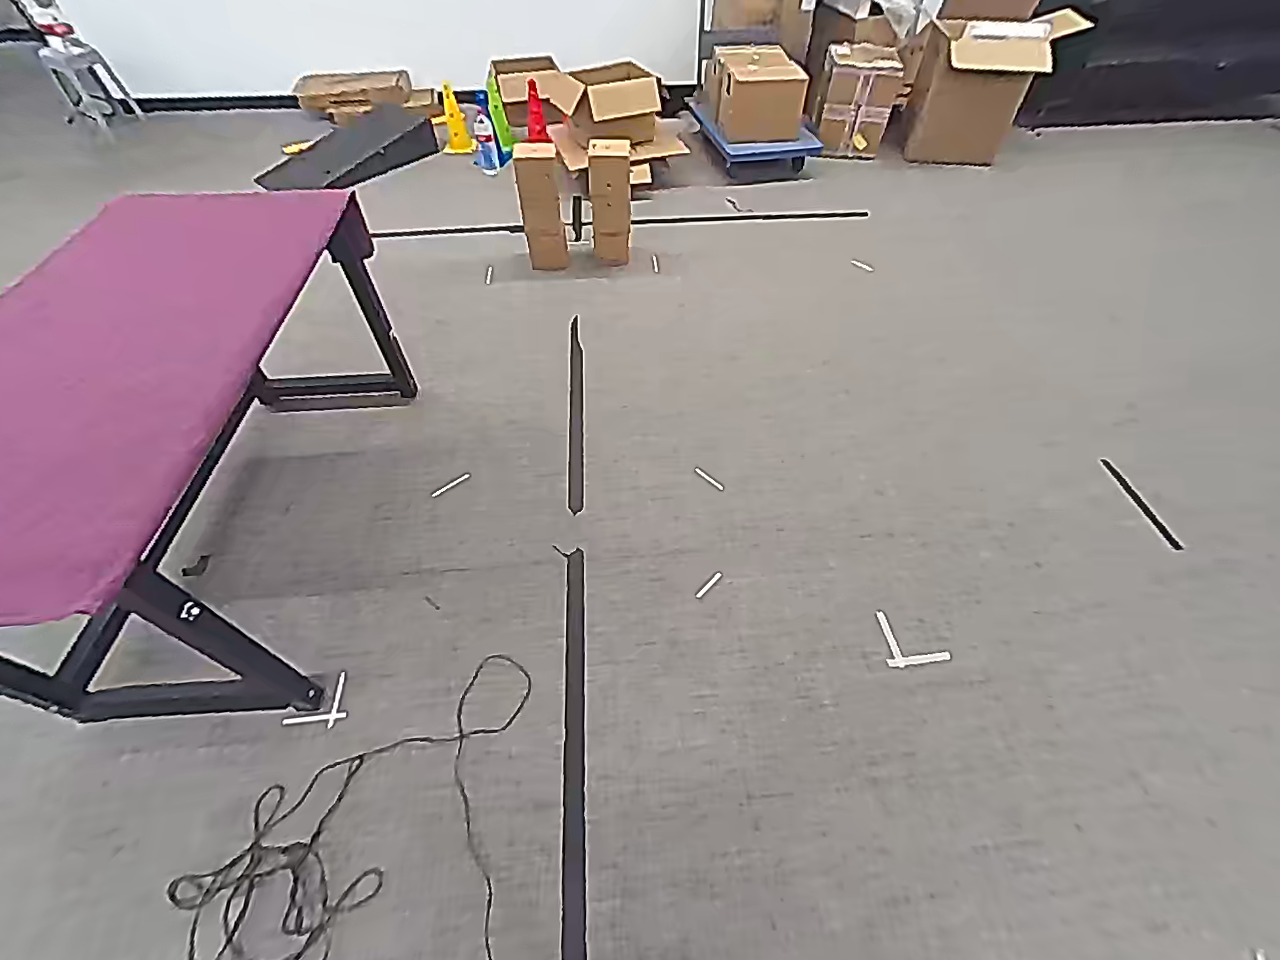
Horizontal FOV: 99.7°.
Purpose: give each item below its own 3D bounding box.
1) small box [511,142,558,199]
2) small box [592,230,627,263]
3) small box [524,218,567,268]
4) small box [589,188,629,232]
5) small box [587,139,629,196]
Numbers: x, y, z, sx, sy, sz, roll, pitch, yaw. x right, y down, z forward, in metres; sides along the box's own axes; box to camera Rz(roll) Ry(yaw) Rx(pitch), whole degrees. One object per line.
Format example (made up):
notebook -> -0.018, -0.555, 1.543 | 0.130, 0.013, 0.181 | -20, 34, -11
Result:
small box -> -0.449, -1.332, 2.330 | 0.179, 0.176, 0.168 | -5, 50, -4
small box -> -0.149, -1.168, 2.620 | 0.168, 0.176, 0.179 | -4, 52, -4
small box -> -0.449, -1.132, 2.589 | 0.179, 0.176, 0.168 | -3, 52, -3
small box -> -0.140, -1.256, 2.480 | 0.179, 0.176, 0.168 | -2, 53, -3
small box -> -0.138, -1.354, 2.349 | 0.179, 0.176, 0.168 | 1, 52, -1
